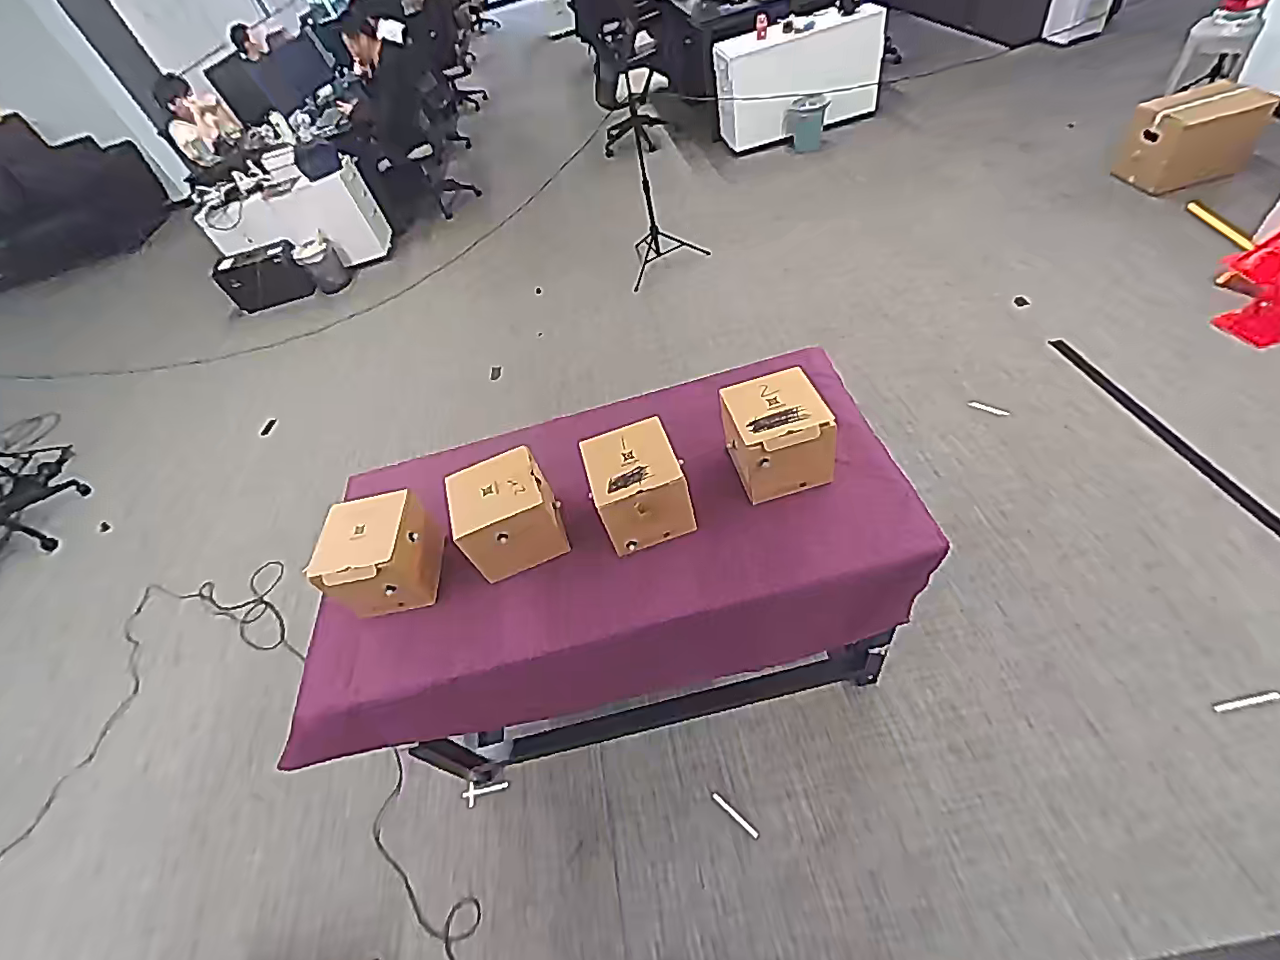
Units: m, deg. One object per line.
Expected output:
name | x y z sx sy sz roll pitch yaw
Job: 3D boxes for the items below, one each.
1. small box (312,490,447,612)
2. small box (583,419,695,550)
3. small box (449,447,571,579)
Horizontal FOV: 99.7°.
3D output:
small box | -0.507 0.149 1.083 0.168 0.176 0.179 -11 49 5
small box | 0.001 0.016 1.059 0.168 0.176 0.179 -18 48 -1
small box | -0.258 0.071 1.081 0.179 0.176 0.168 -22 49 -4
